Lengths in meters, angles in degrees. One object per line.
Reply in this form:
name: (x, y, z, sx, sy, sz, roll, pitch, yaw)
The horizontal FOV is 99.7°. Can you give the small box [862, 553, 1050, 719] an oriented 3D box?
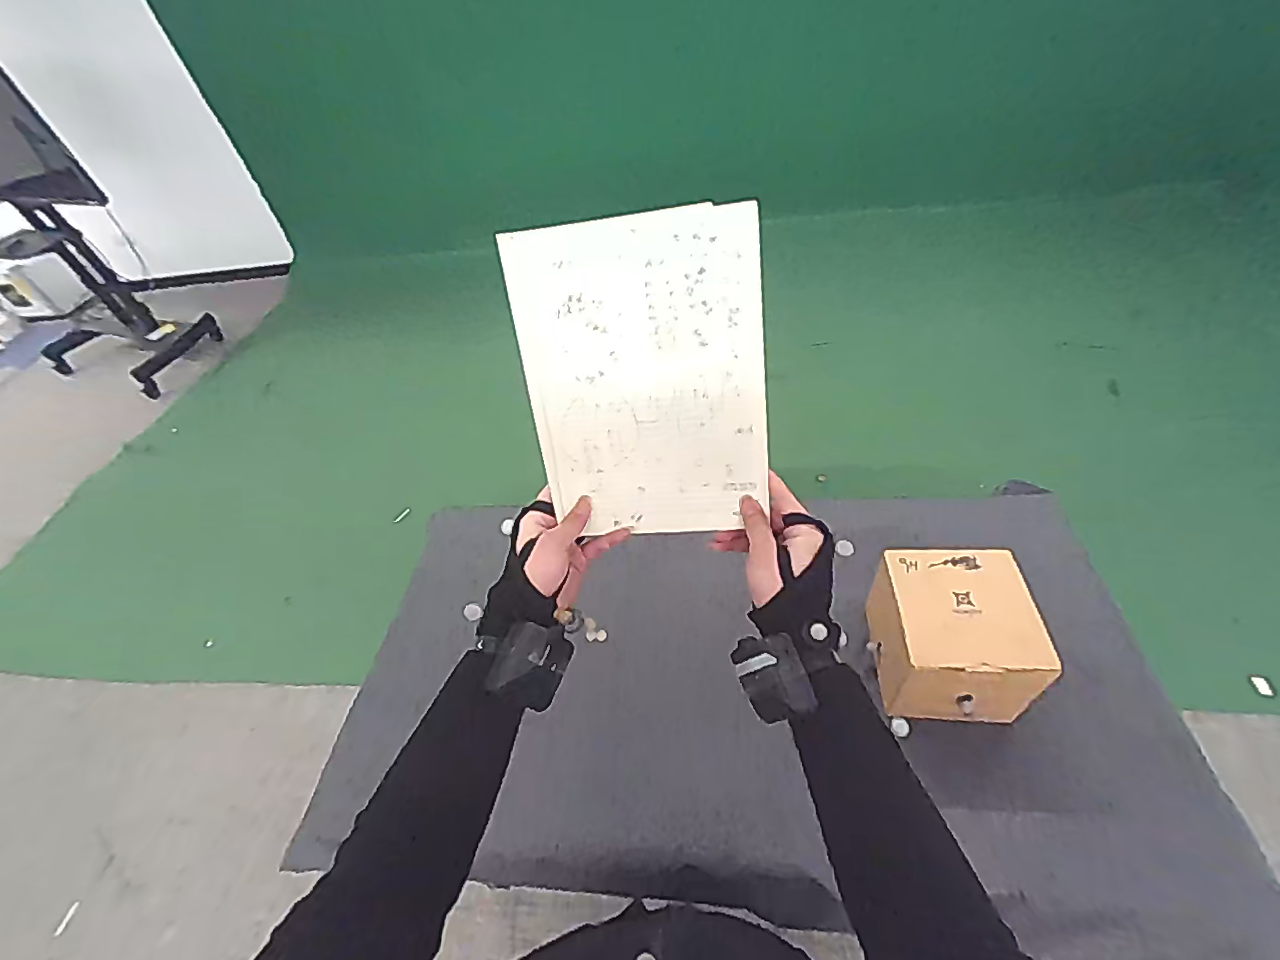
small box: (0.424, 0.221, 0.761, 0.168, 0.176, 0.179, -1, 49, 9)
